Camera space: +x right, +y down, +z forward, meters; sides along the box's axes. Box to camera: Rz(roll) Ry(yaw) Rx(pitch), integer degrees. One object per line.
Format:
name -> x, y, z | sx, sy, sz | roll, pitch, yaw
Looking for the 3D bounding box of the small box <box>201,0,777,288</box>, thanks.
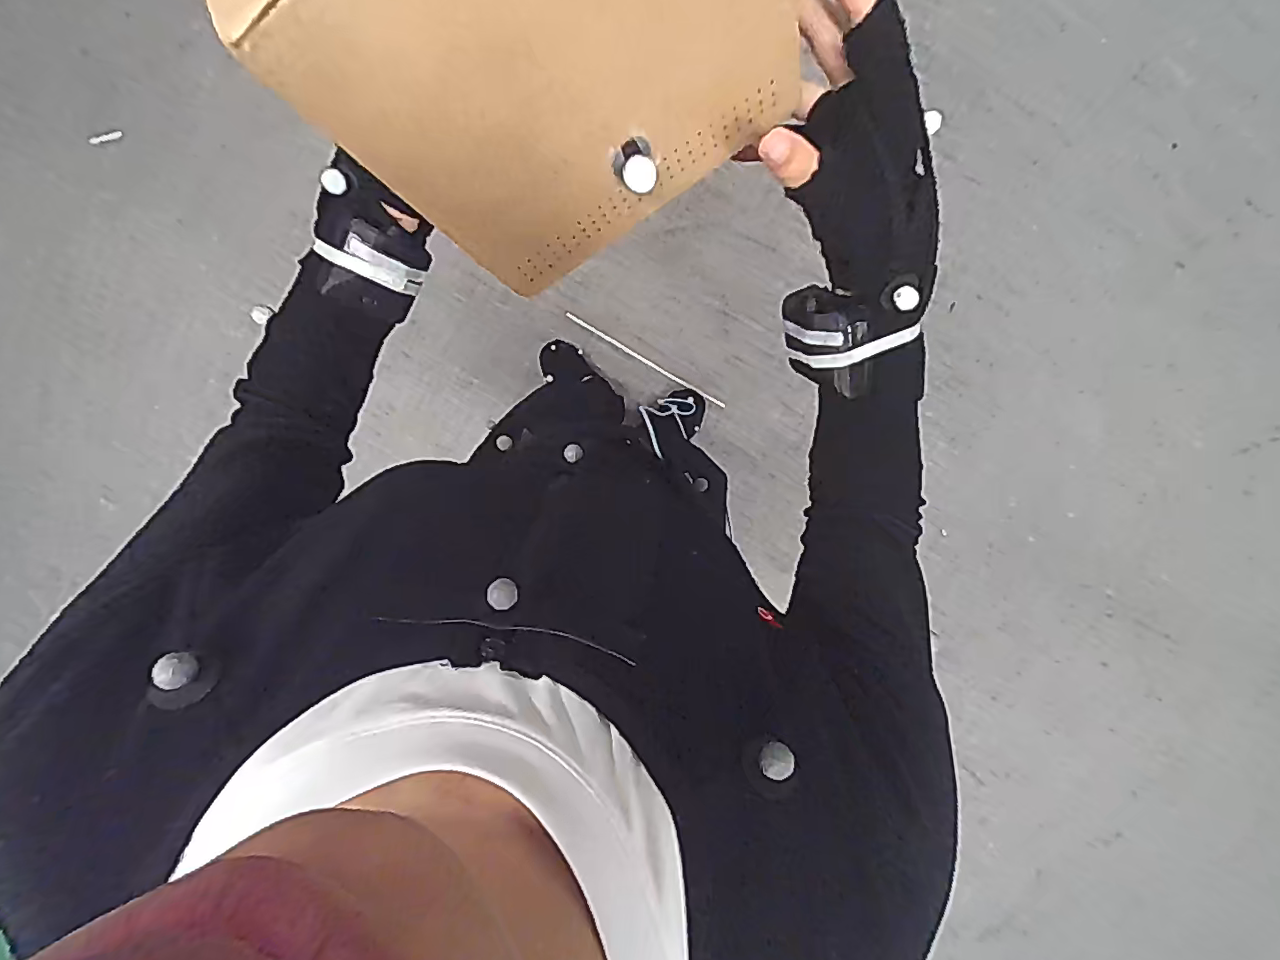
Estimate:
small box -> -0.055, -0.222, 0.228 | 0.179, 0.176, 0.168 | -31, 74, 12
